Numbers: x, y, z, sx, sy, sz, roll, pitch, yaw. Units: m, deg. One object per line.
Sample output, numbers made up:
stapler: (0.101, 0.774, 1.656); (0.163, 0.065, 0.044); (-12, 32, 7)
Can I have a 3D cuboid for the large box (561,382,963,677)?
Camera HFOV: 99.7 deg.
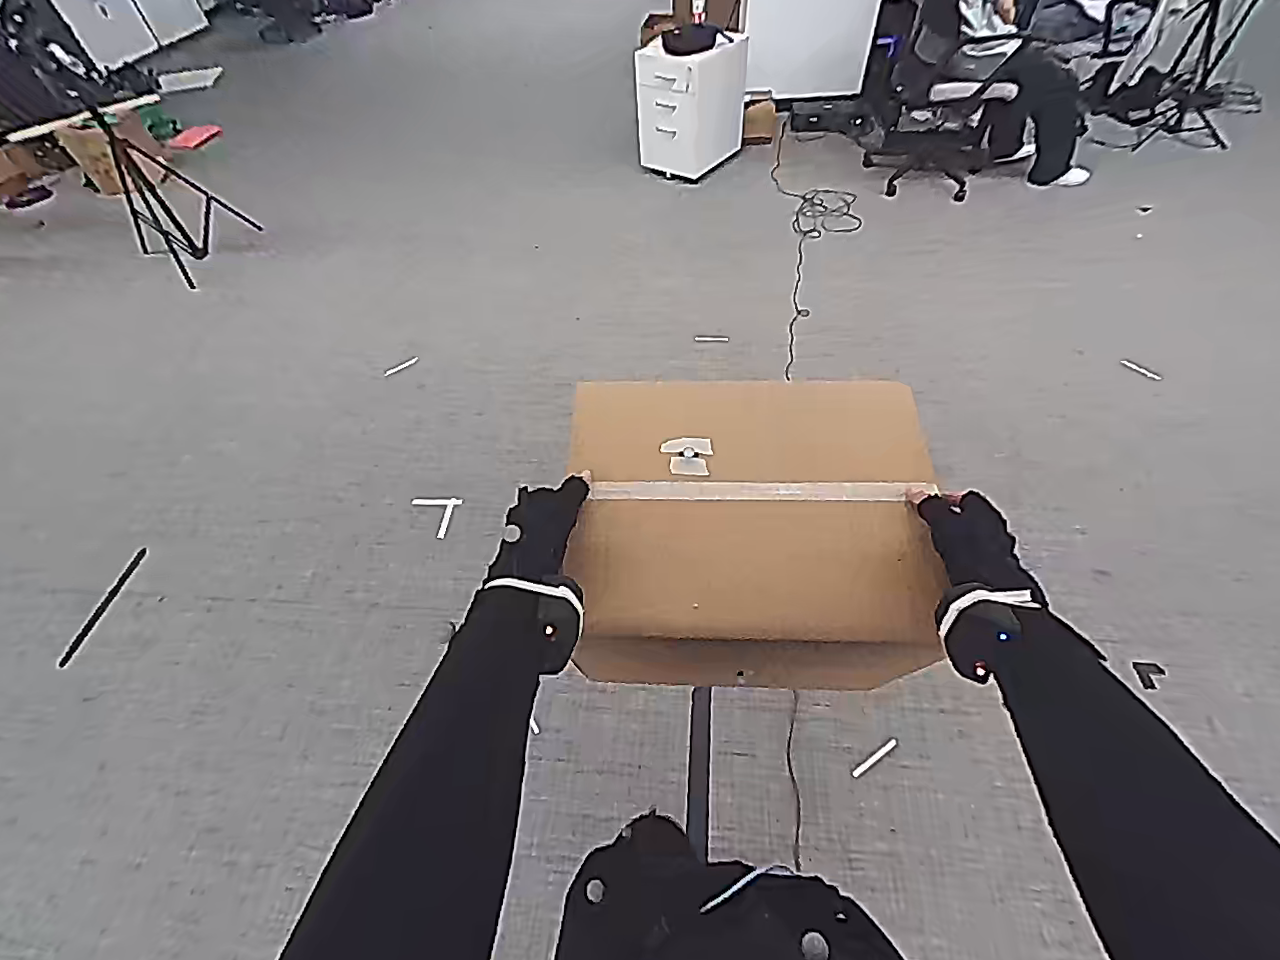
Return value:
large box: (0.131, 0.088, 0.735); (0.408, 0.320, 0.320); (0, 61, 4)
